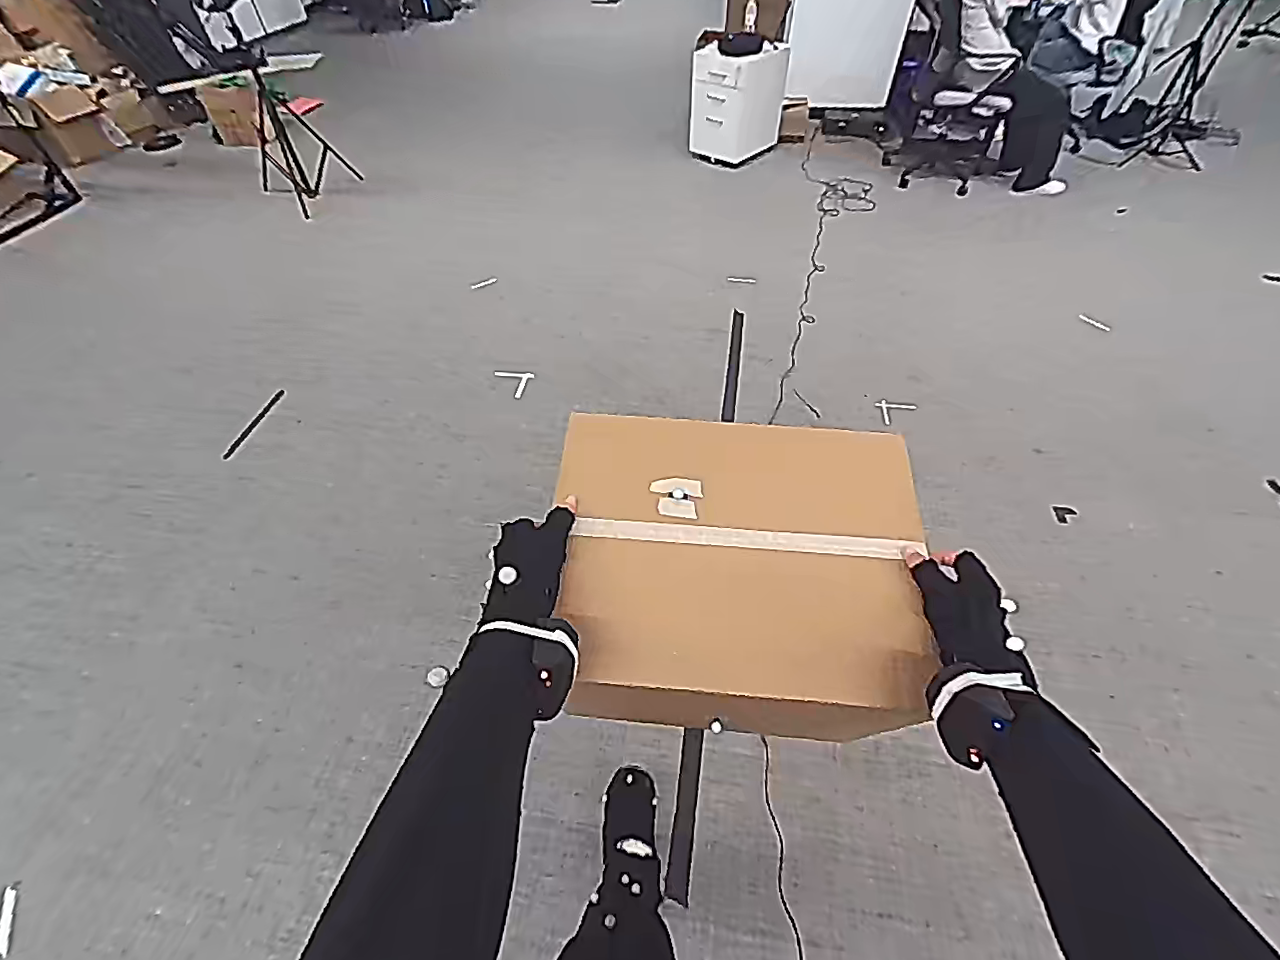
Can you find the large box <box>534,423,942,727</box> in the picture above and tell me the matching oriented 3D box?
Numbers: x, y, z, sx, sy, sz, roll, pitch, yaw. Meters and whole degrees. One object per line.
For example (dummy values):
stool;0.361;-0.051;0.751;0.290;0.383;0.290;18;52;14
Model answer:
large box;0.107;0.142;0.727;0.408;0.320;0.320;4;59;3
